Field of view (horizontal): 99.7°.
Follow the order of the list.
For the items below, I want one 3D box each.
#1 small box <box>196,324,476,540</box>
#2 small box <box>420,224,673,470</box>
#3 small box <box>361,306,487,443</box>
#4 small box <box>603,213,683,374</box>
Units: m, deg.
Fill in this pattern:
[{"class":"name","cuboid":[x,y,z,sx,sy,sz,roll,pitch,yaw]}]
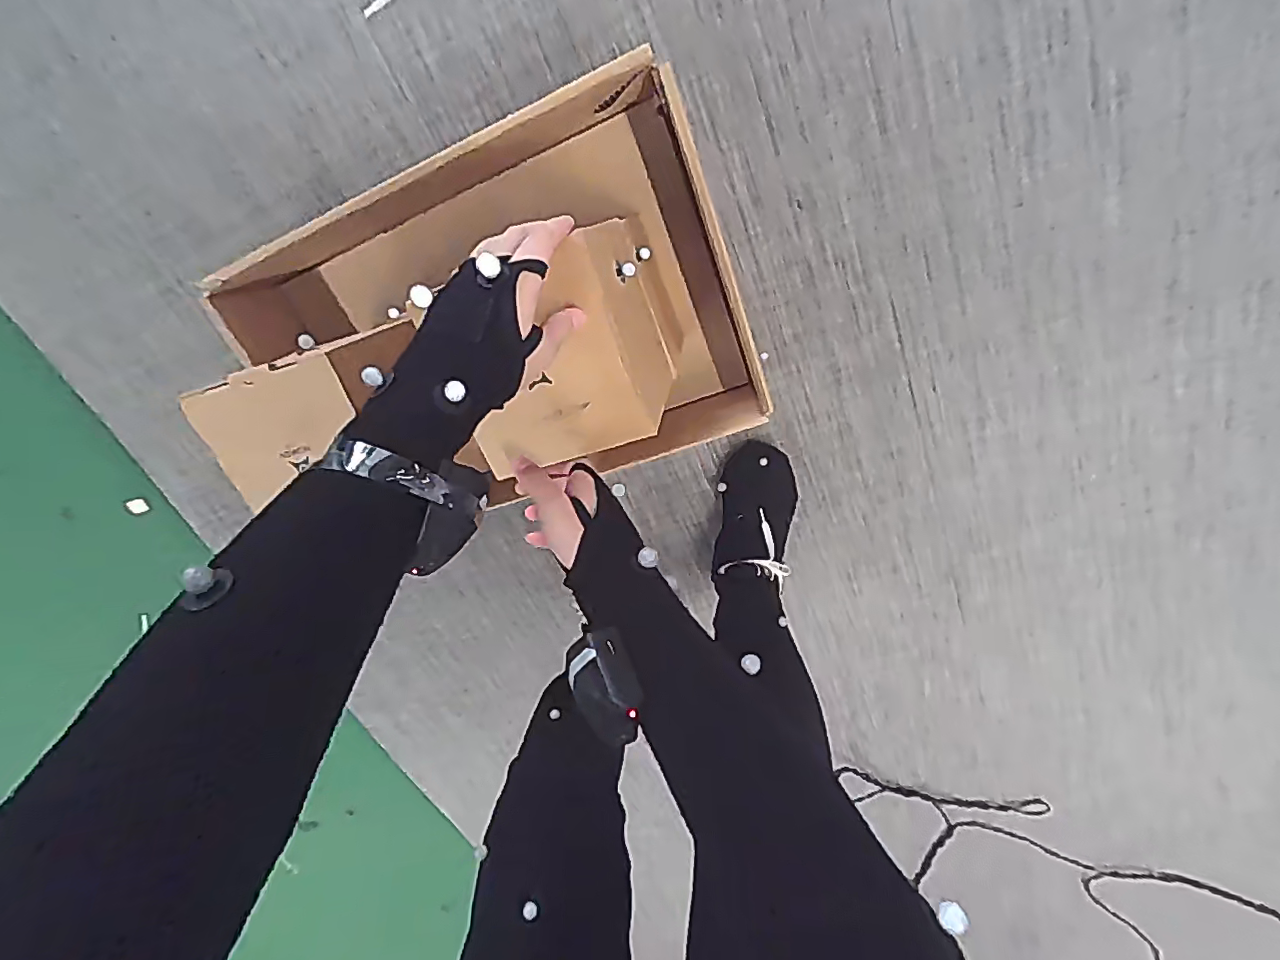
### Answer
[{"class":"small box","cuboid":[-0.312,-0.062,0.598,0.168,0.176,0.179,-12,116,14]},{"class":"small box","cuboid":[-0.073,-0.138,0.537,0.168,0.176,0.179,-14,116,17]},{"class":"small box","cuboid":[-0.292,-0.140,0.745,0.168,0.176,0.179,-19,115,13]},{"class":"small box","cuboid":[-0.050,-0.213,0.680,0.168,0.176,0.179,-17,115,16]}]
